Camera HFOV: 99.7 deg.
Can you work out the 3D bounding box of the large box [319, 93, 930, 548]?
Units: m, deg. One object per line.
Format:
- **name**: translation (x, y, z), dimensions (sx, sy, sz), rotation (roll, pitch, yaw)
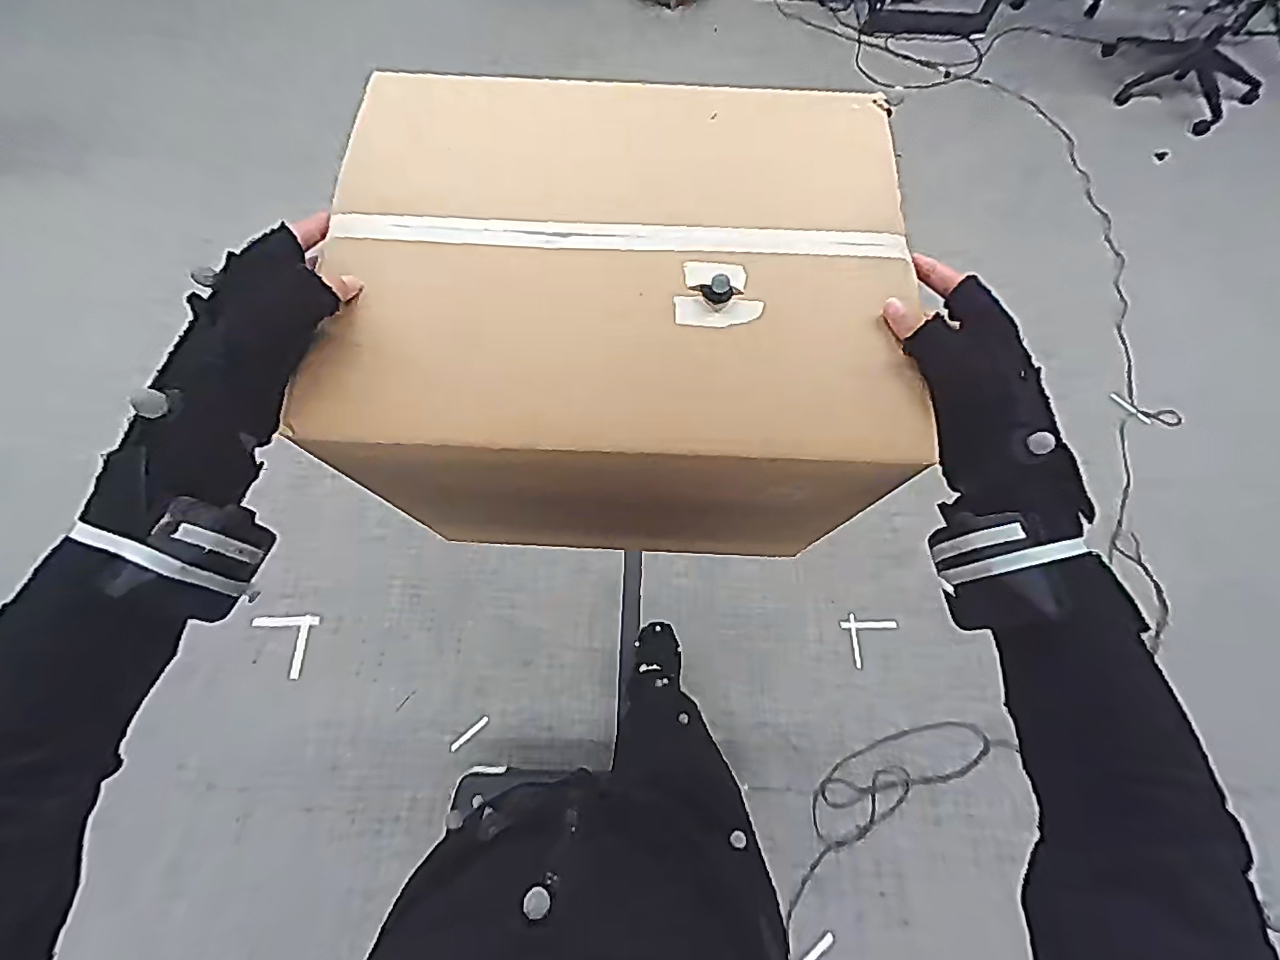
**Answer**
- **large box**: translation (-0.010, -0.117, 0.535), dimensions (0.408, 0.320, 0.320), rotation (3, 72, -1)
